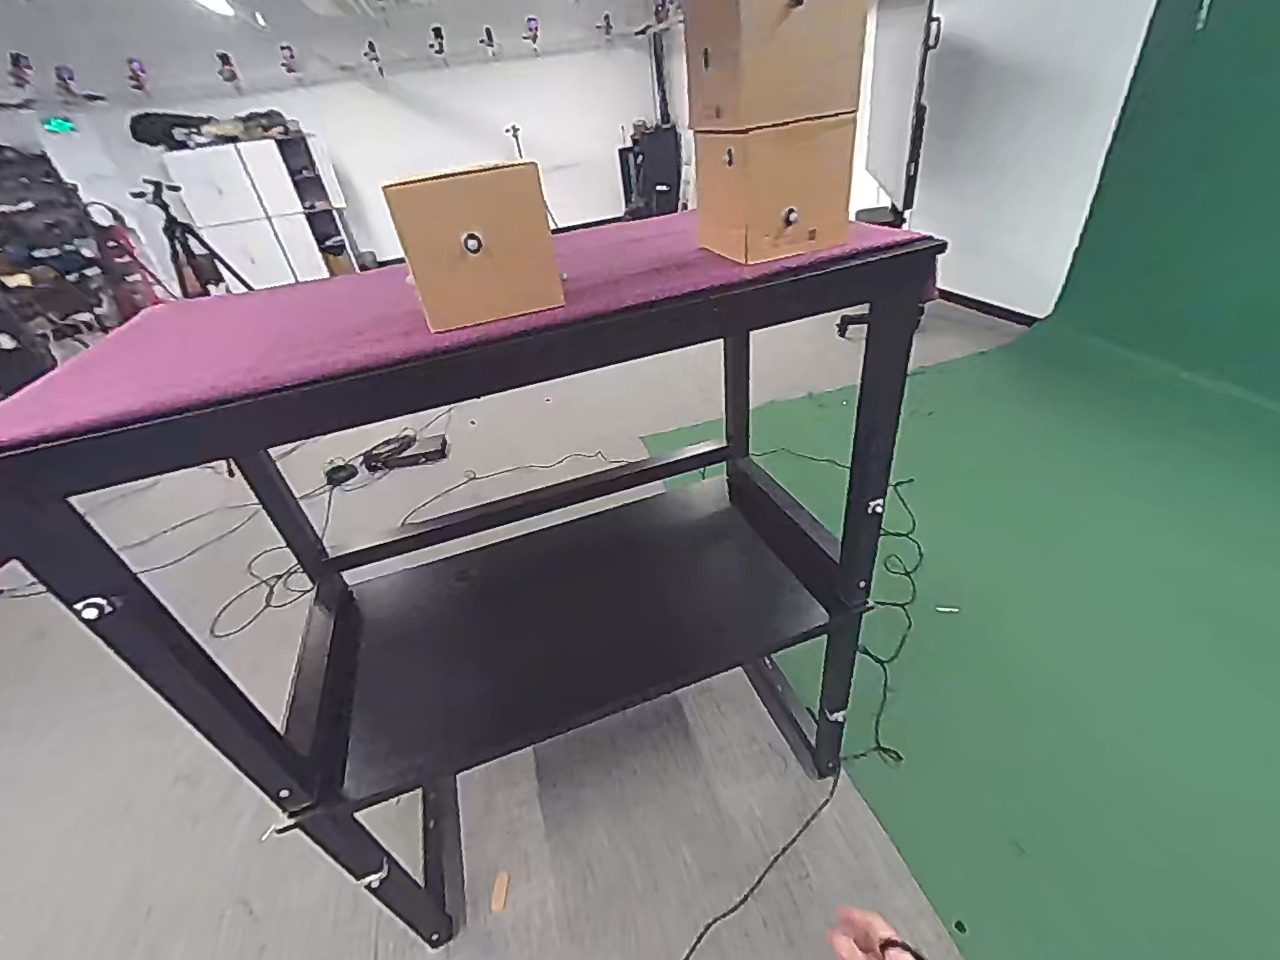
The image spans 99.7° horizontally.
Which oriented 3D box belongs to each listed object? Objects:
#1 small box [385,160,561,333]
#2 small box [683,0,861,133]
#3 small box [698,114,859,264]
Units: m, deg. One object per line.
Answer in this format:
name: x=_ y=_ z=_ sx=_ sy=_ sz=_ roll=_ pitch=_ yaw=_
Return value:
small box: x=-0.209 y=-0.312 z=0.714 sx=0.179 sy=0.176 sz=0.168 roll=-16 pitch=34 yaw=-9
small box: x=0.171 y=-0.561 z=0.704 sx=0.179 sy=0.176 sz=0.168 roll=-16 pitch=36 yaw=-10
small box: x=0.195 y=-0.433 z=0.805 sx=0.168 sy=0.176 sz=0.179 roll=-16 pitch=36 yaw=-10
